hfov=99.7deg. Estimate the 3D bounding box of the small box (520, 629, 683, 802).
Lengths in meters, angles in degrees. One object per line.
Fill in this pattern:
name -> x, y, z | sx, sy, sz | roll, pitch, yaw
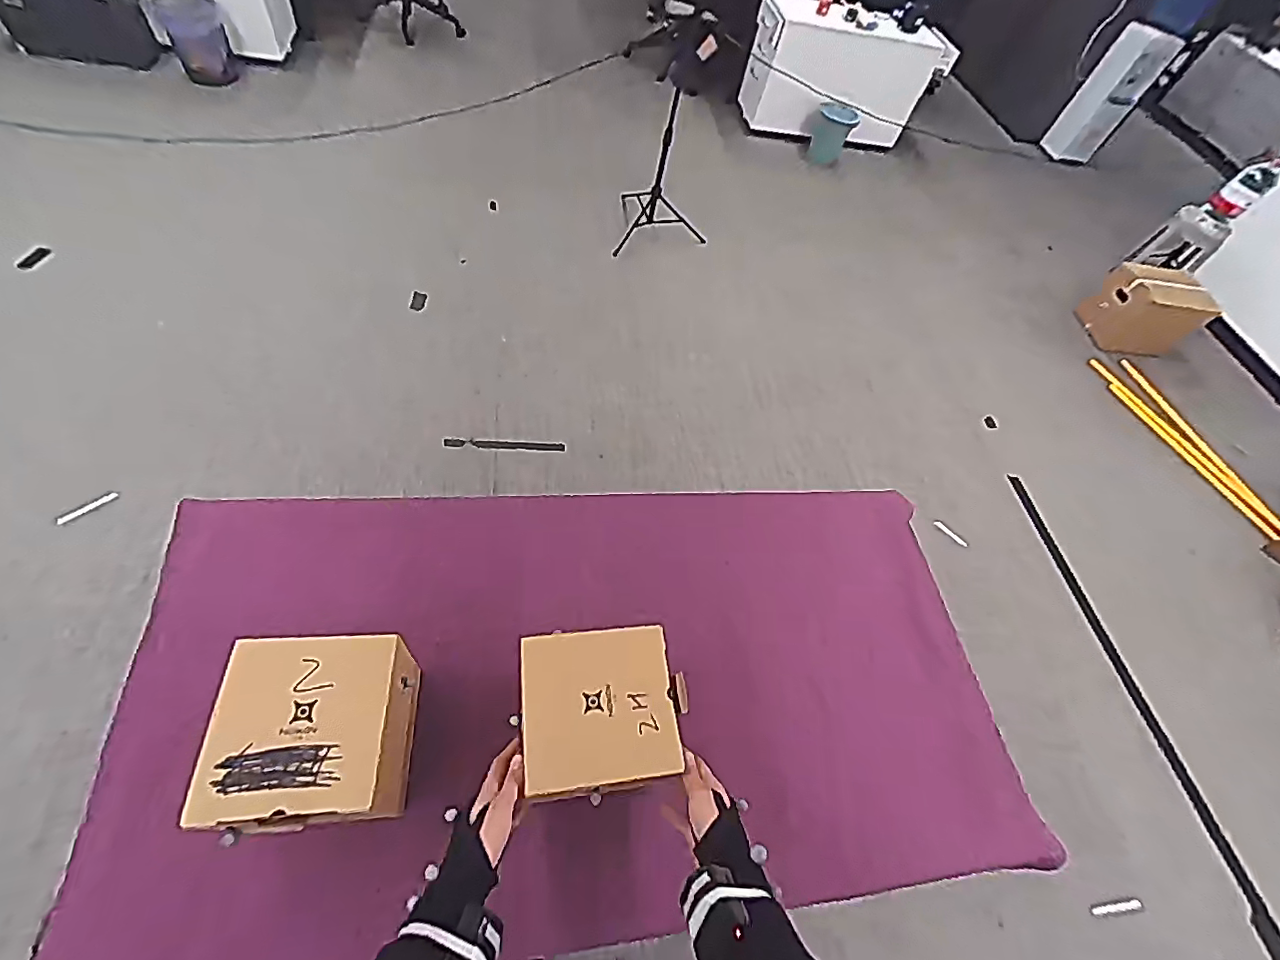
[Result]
small box -> -0.060, 0.300, 0.685 | 0.179, 0.176, 0.168 | -1, 58, -13
